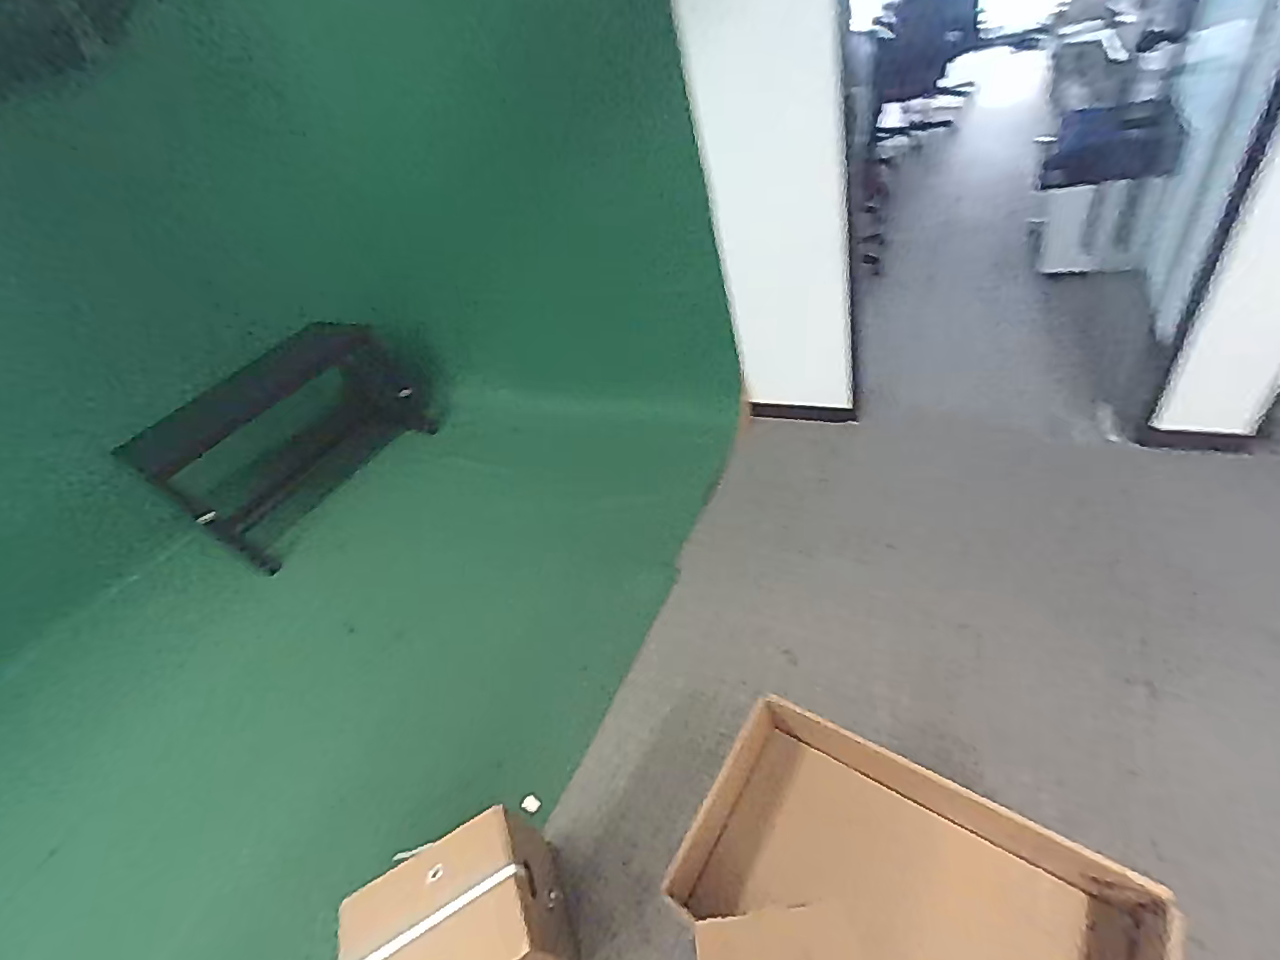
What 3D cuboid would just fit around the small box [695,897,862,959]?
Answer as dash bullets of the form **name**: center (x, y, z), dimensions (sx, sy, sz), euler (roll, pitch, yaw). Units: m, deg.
- **small box**: center (0.155, 0.571, 0.534), dimensions (0.168, 0.176, 0.179), euler (-11, 15, 1)
